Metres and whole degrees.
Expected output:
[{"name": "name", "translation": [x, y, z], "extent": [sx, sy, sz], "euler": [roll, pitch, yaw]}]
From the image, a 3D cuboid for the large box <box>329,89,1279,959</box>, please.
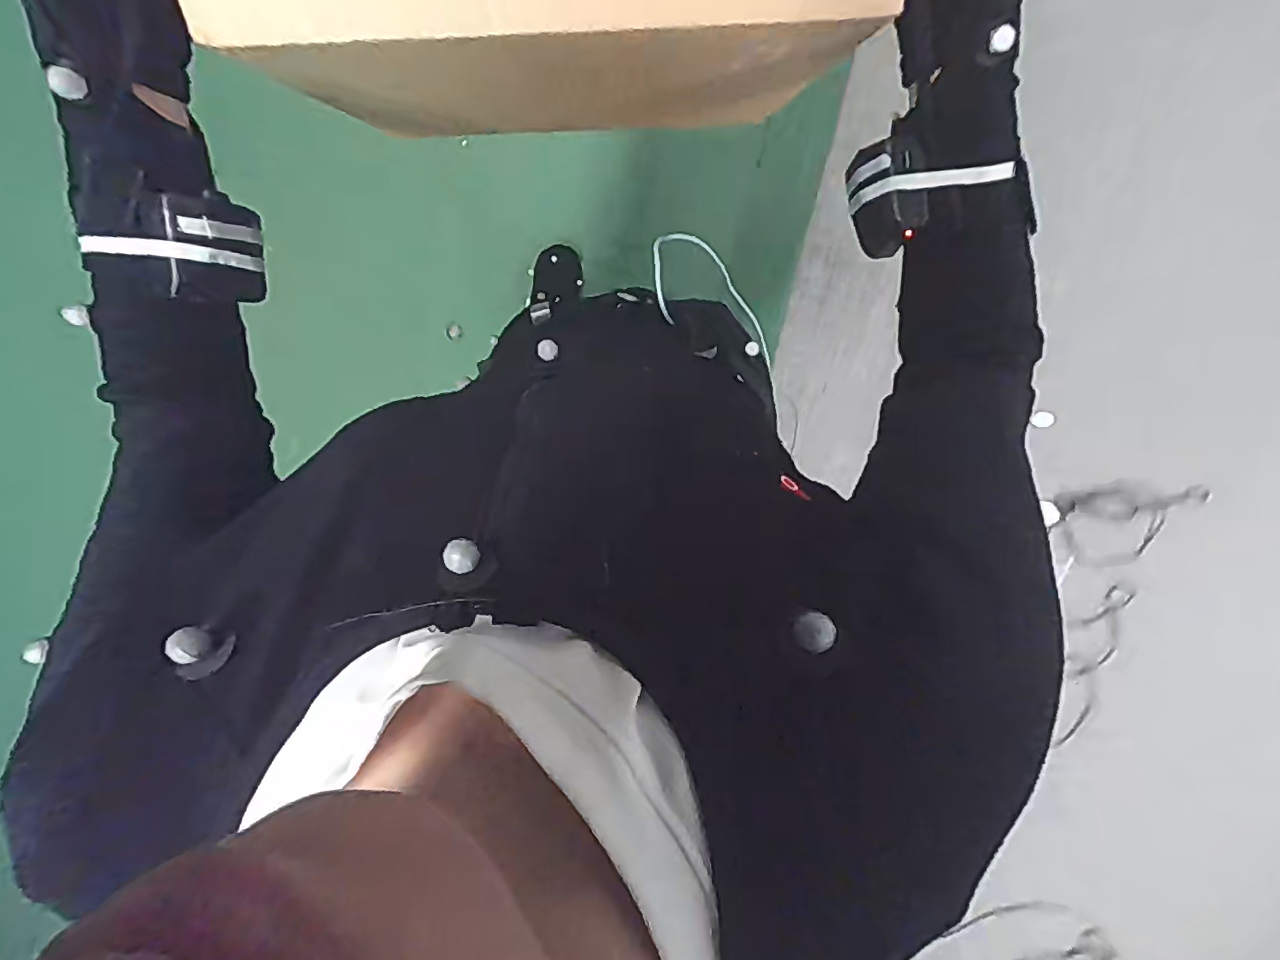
[{"name": "large box", "translation": [0.122, 0.080, 0.315], "extent": [0.320, 0.320, 0.408], "euler": [11, 79, 29]}]
